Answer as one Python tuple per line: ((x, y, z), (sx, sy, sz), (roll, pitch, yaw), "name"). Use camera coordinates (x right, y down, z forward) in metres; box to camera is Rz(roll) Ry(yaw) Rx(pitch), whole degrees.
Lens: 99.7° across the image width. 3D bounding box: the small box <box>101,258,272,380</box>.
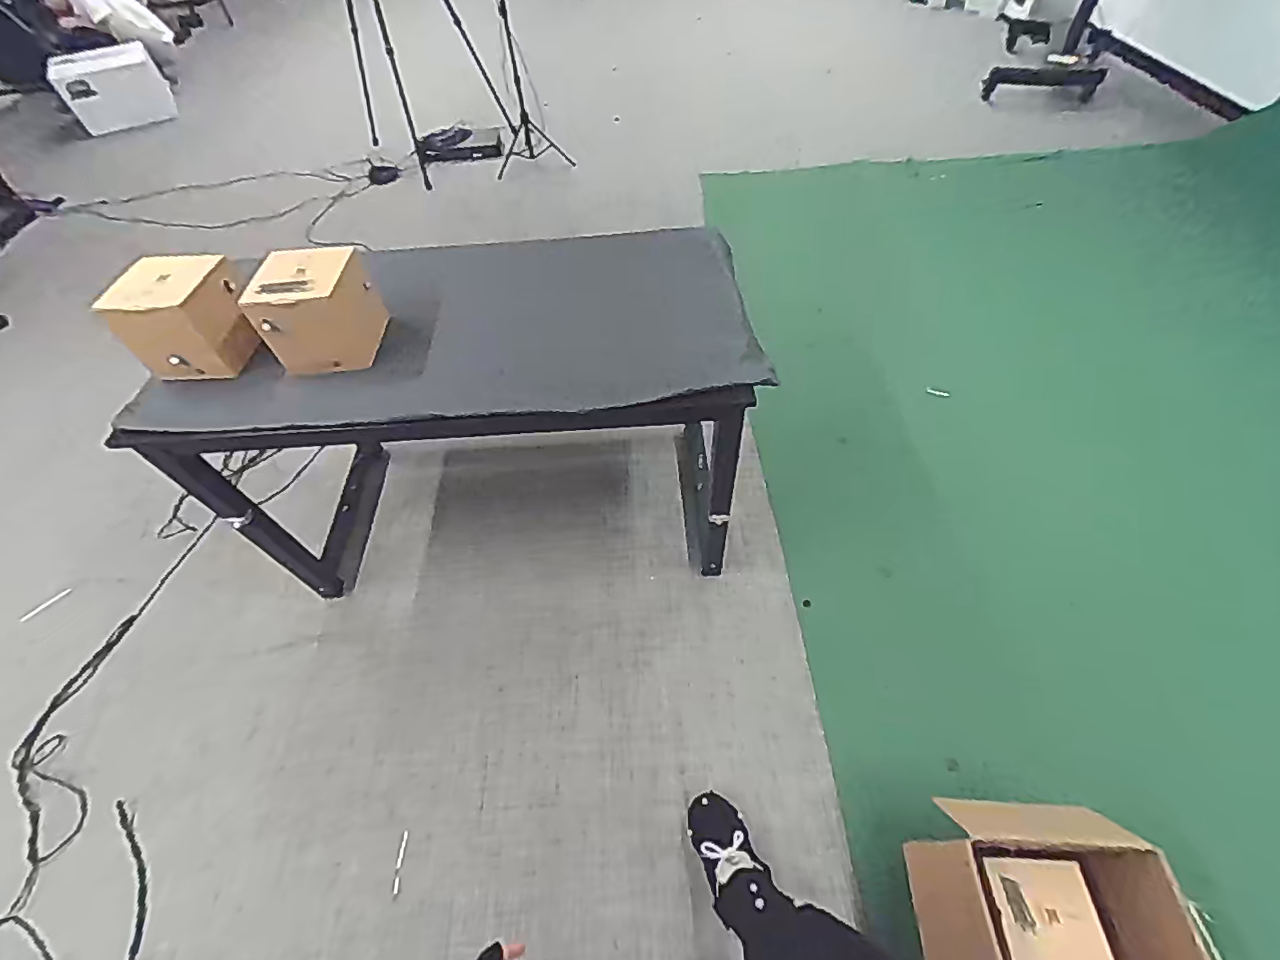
((-0.882, -0.319, 1.079), (0.168, 0.176, 0.179), (-2, 52, 2), "small box")
